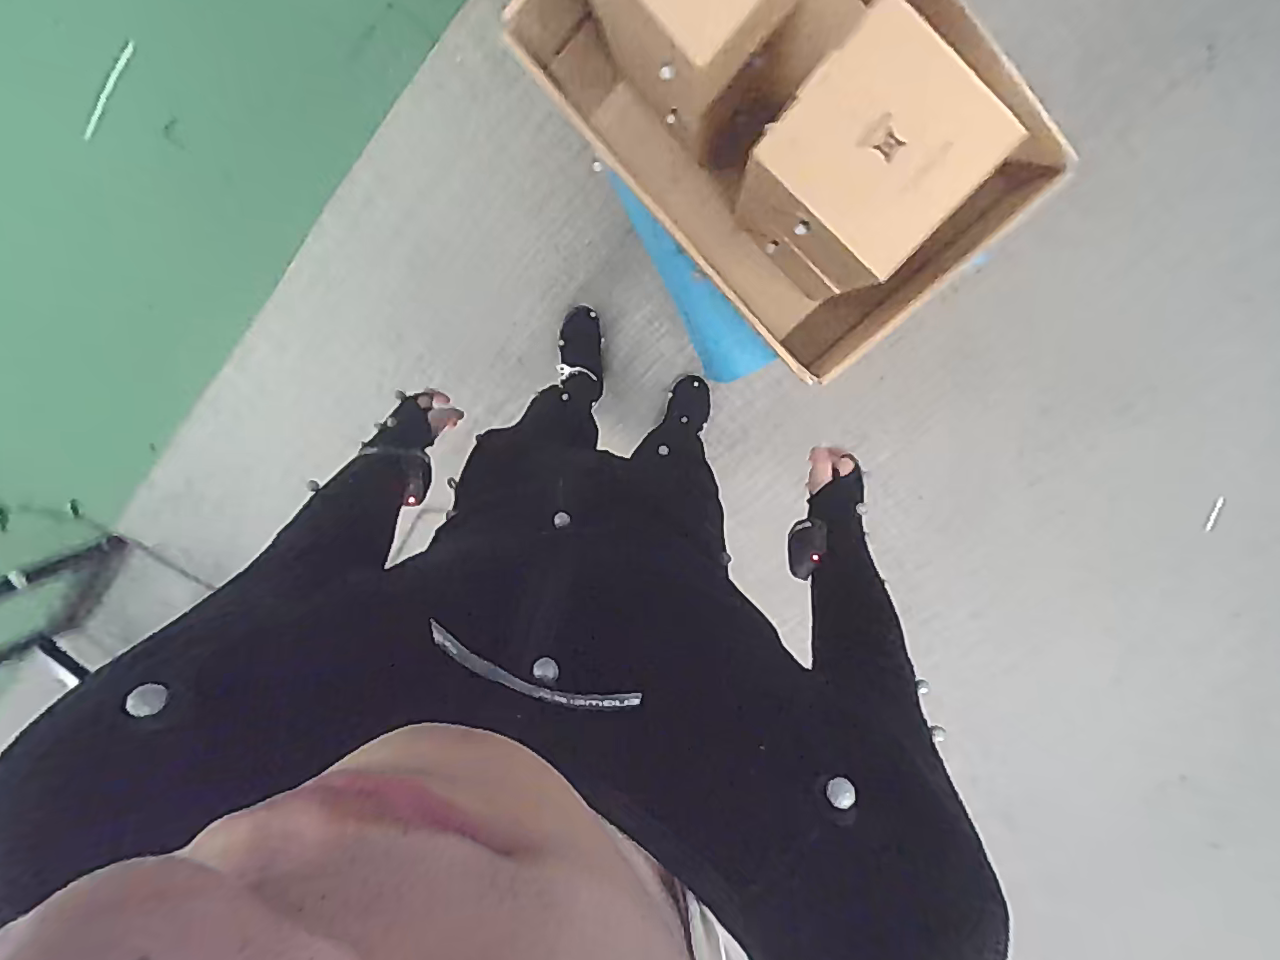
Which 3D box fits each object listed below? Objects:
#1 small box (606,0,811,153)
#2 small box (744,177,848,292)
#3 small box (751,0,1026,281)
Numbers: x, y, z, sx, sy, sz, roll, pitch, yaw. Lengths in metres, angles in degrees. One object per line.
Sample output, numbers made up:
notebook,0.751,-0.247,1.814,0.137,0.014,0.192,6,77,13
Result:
small box,0.083,-0.561,0.687,0.168,0.176,0.179,-42,99,16
small box,0.254,-0.370,0.718,0.179,0.176,0.168,44,107,-5
small box,0.232,-0.327,0.562,0.179,0.176,0.168,43,107,-6
